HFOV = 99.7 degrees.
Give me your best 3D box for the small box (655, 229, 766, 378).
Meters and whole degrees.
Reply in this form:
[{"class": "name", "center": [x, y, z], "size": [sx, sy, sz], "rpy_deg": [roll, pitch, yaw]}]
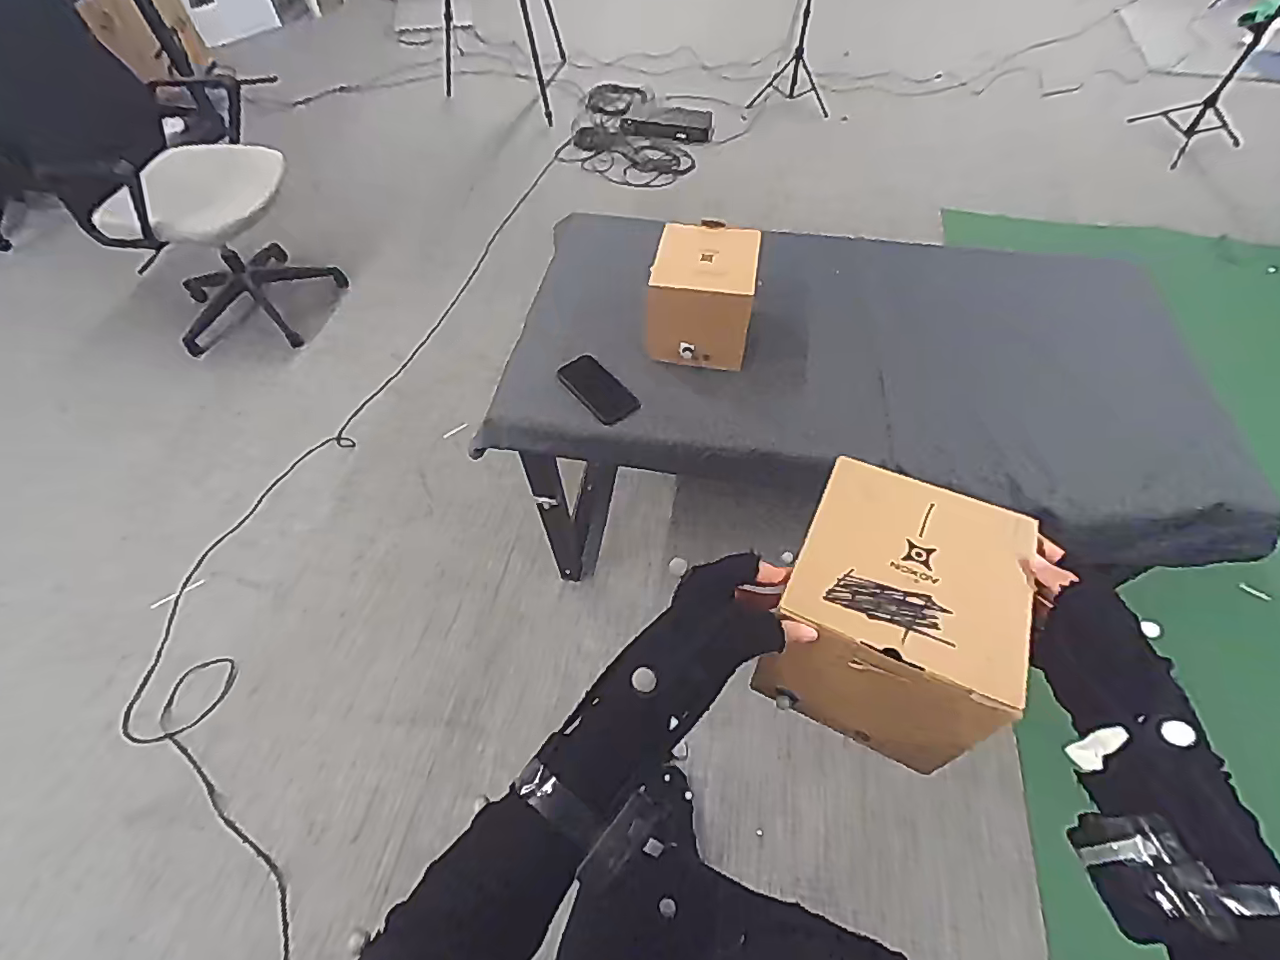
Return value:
[{"class": "small box", "center": [0.119, -0.307, 0.946], "size": [0.168, 0.176, 0.179], "rpy_deg": [8, 58, 8]}]
